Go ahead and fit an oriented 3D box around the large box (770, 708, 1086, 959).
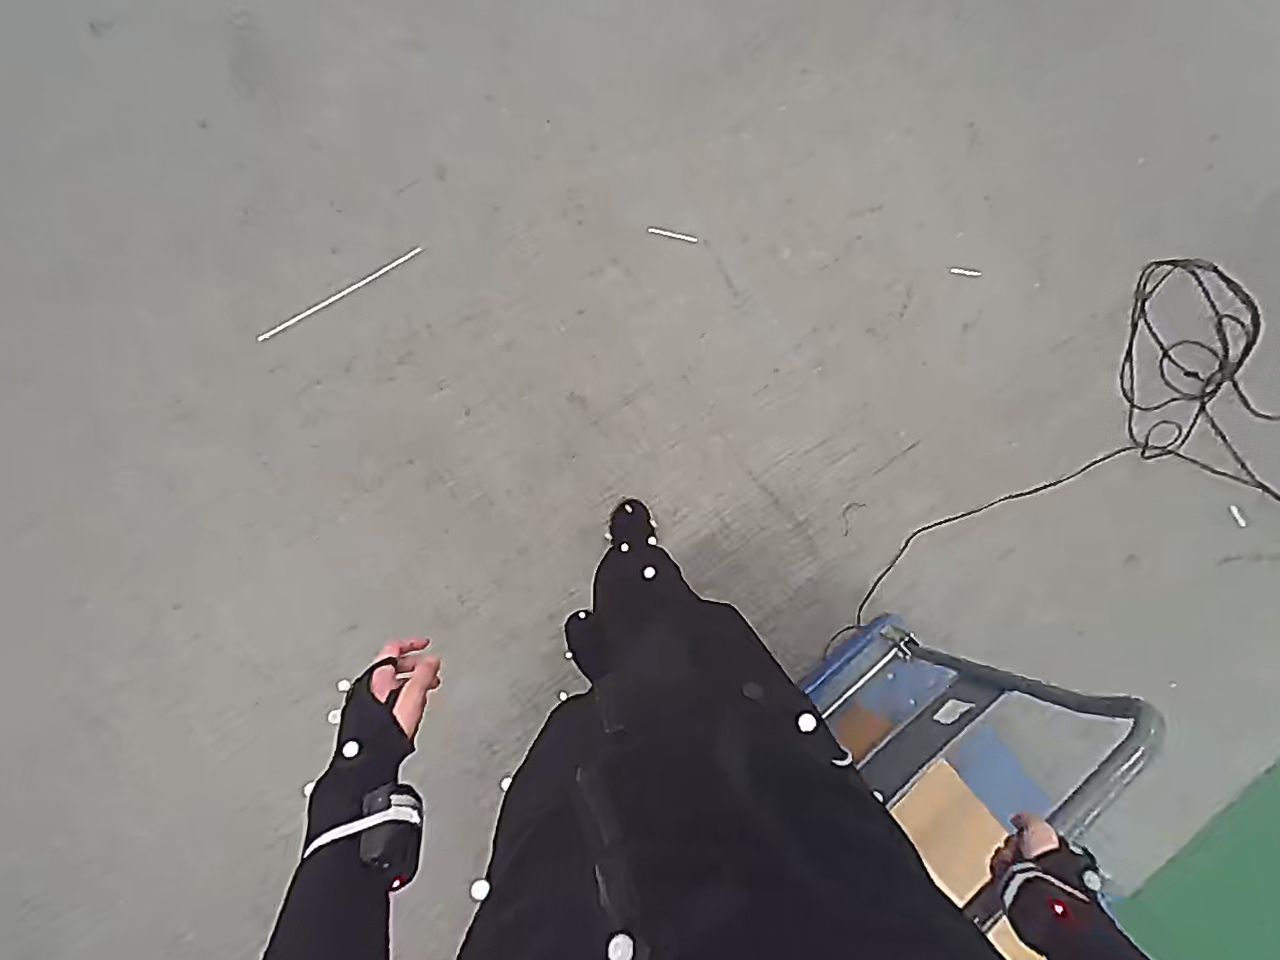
[{"bbox_3d":[0.545,0.758,1.099,0.320,0.320,0.408,-40,89,-8],"label":"large box"}]
